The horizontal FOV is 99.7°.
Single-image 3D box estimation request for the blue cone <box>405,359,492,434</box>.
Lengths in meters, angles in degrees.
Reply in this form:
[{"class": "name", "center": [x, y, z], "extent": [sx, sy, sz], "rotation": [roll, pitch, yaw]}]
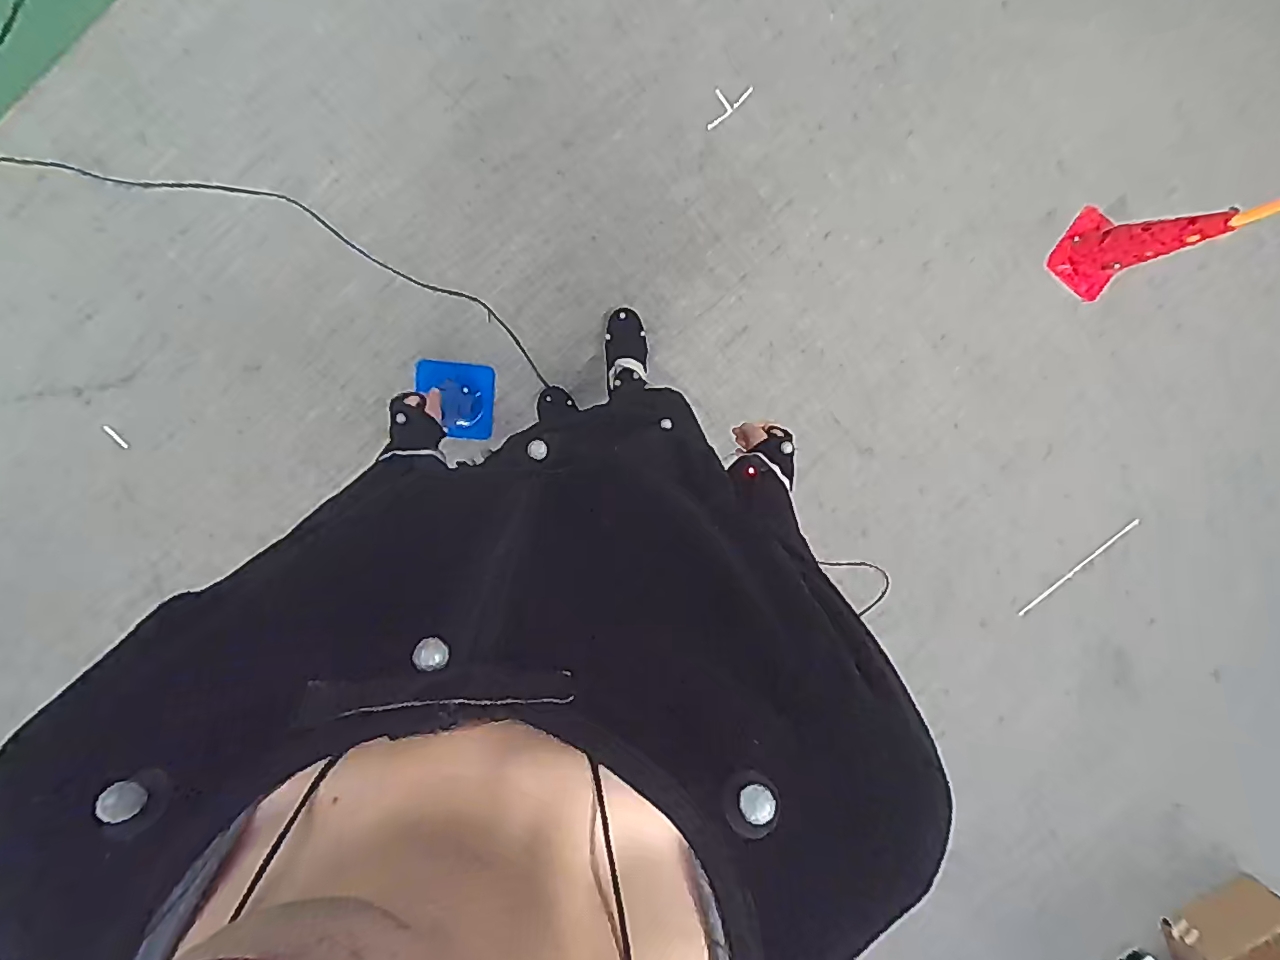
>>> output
[{"class": "blue cone", "center": [-0.461, -0.171, 1.245], "extent": [0.192, 0.380, 0.193], "rotation": [3, 105, -9]}]
